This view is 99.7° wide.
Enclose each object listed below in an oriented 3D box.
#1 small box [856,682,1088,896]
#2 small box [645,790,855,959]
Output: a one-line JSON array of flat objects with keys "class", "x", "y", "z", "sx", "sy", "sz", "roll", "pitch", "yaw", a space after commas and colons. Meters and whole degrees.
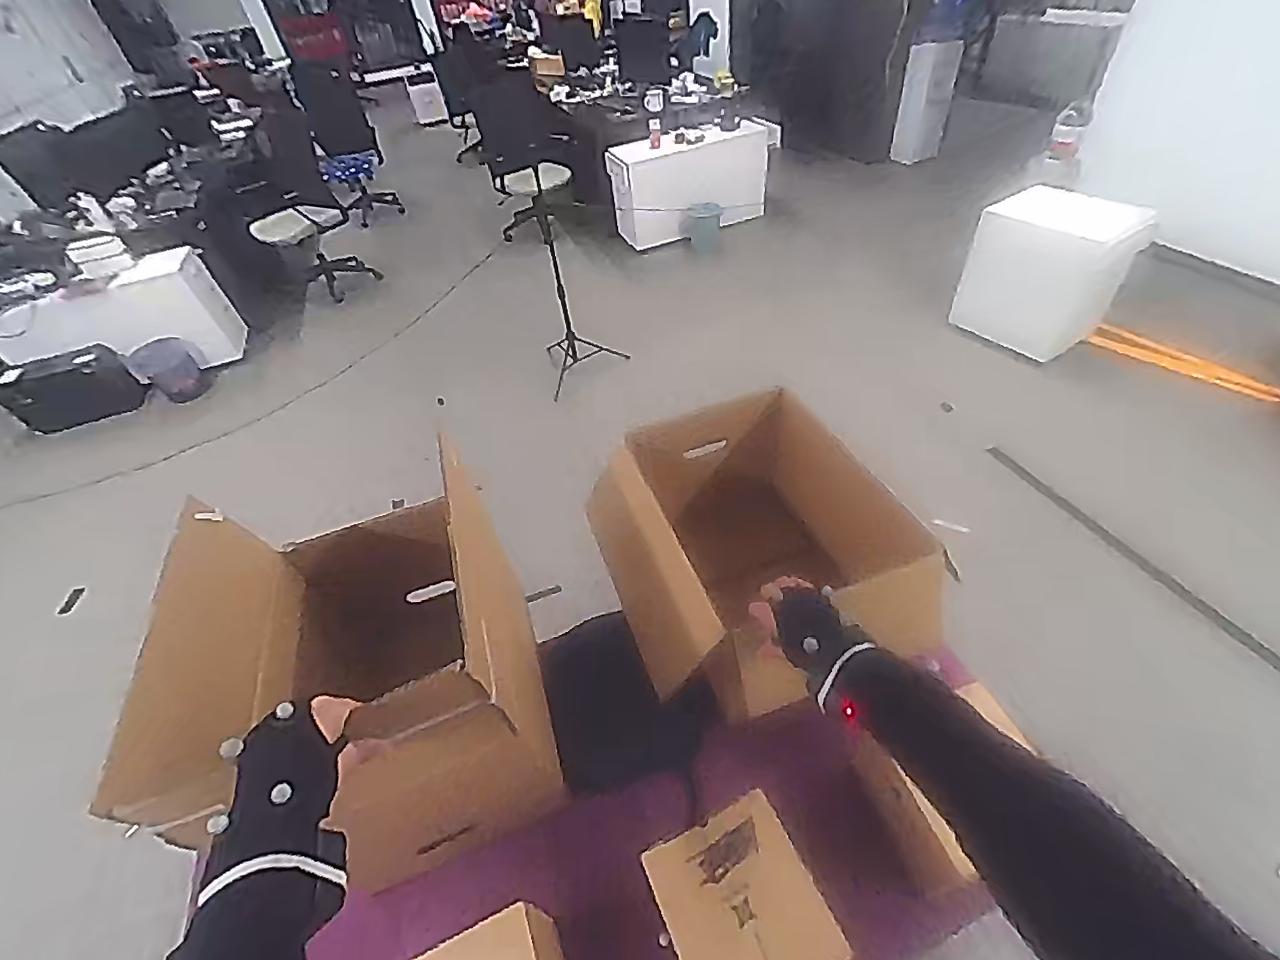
[{"class": "small box", "x": 0.407, "y": 0.401, "z": 0.704, "sx": 0.168, "sy": 0.176, "sz": 0.179, "roll": -17, "pitch": 45, "yaw": -6}, {"class": "small box", "x": 0.119, "y": 0.514, "z": 0.642, "sx": 0.168, "sy": 0.176, "sz": 0.179, "roll": -23, "pitch": 48, "yaw": -12}]
